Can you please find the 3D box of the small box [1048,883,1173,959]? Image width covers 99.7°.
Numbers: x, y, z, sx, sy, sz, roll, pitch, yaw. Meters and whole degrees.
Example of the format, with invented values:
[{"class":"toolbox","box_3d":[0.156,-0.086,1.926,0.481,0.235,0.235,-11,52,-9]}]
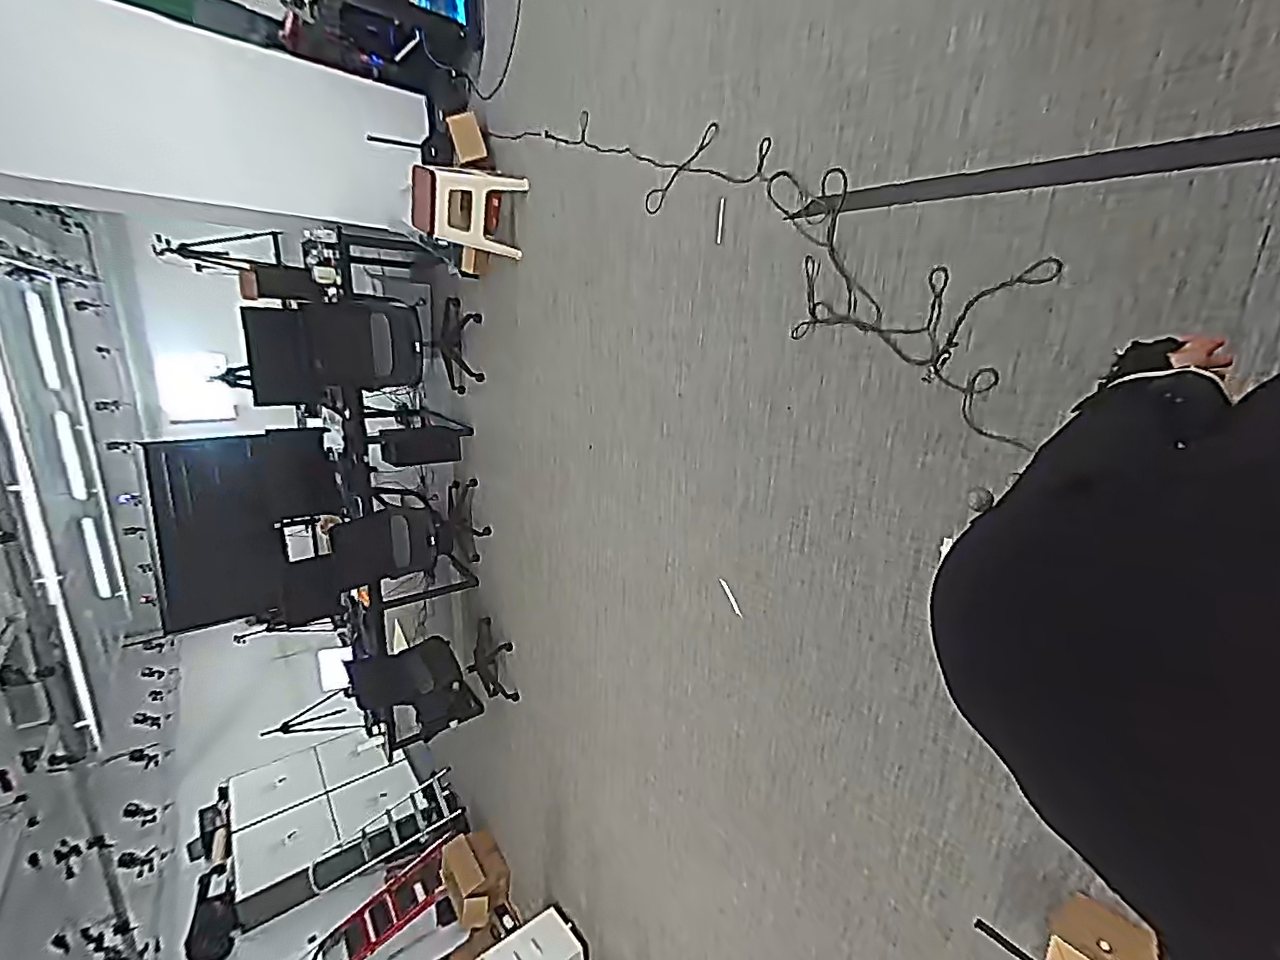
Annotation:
[{"class":"small box","box_3d":[1.014,1.050,1.175,0.168,0.176,0.179,17,112,49]}]
